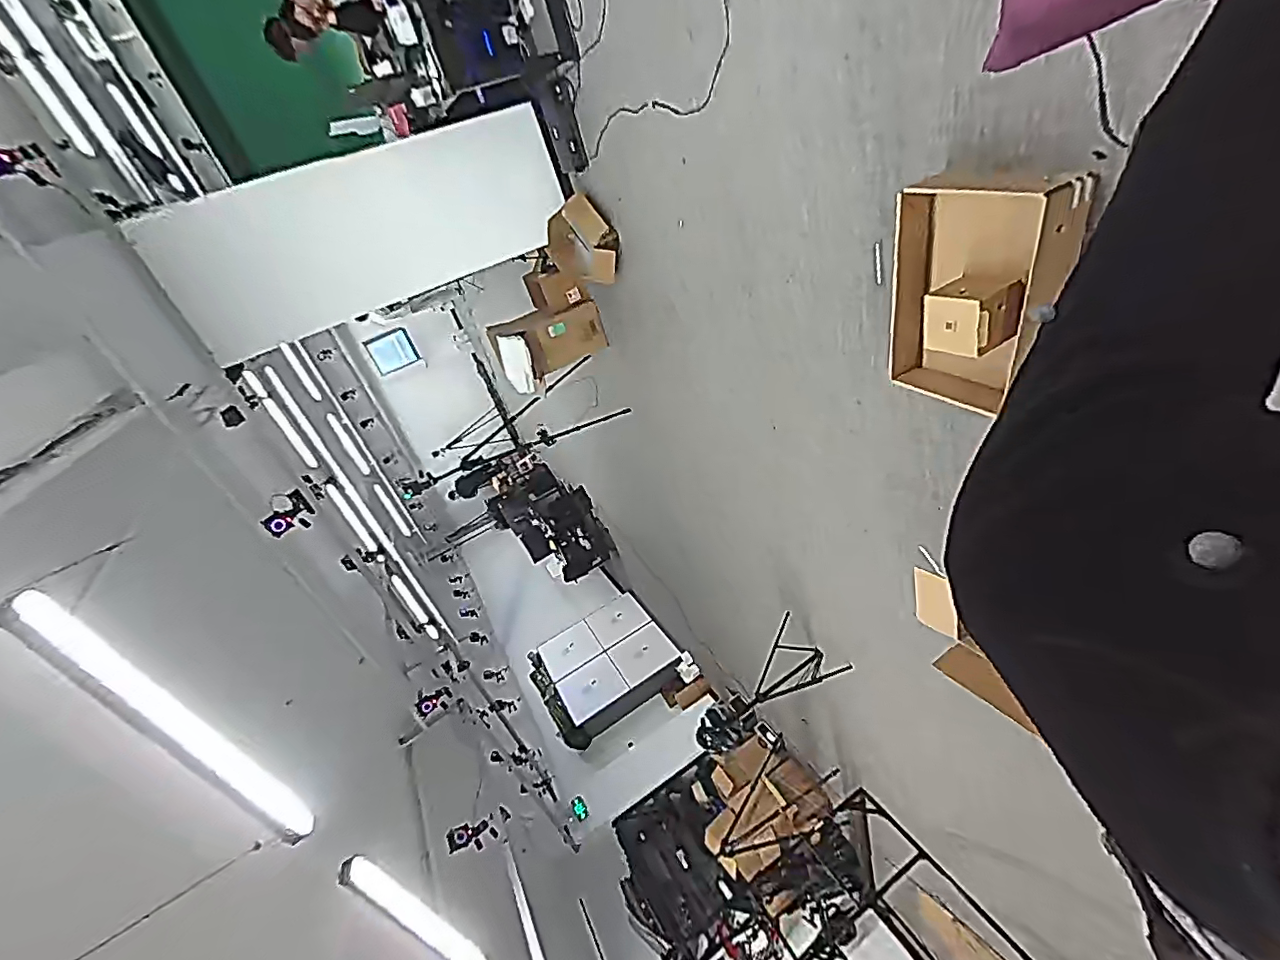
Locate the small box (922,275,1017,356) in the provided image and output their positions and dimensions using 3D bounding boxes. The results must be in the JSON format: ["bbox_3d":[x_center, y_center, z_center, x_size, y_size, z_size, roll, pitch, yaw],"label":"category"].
[{"bbox_3d":[0.948,-0.480,1.561,0.179,0.176,0.168,38,151,53],"label":"small box"}]
